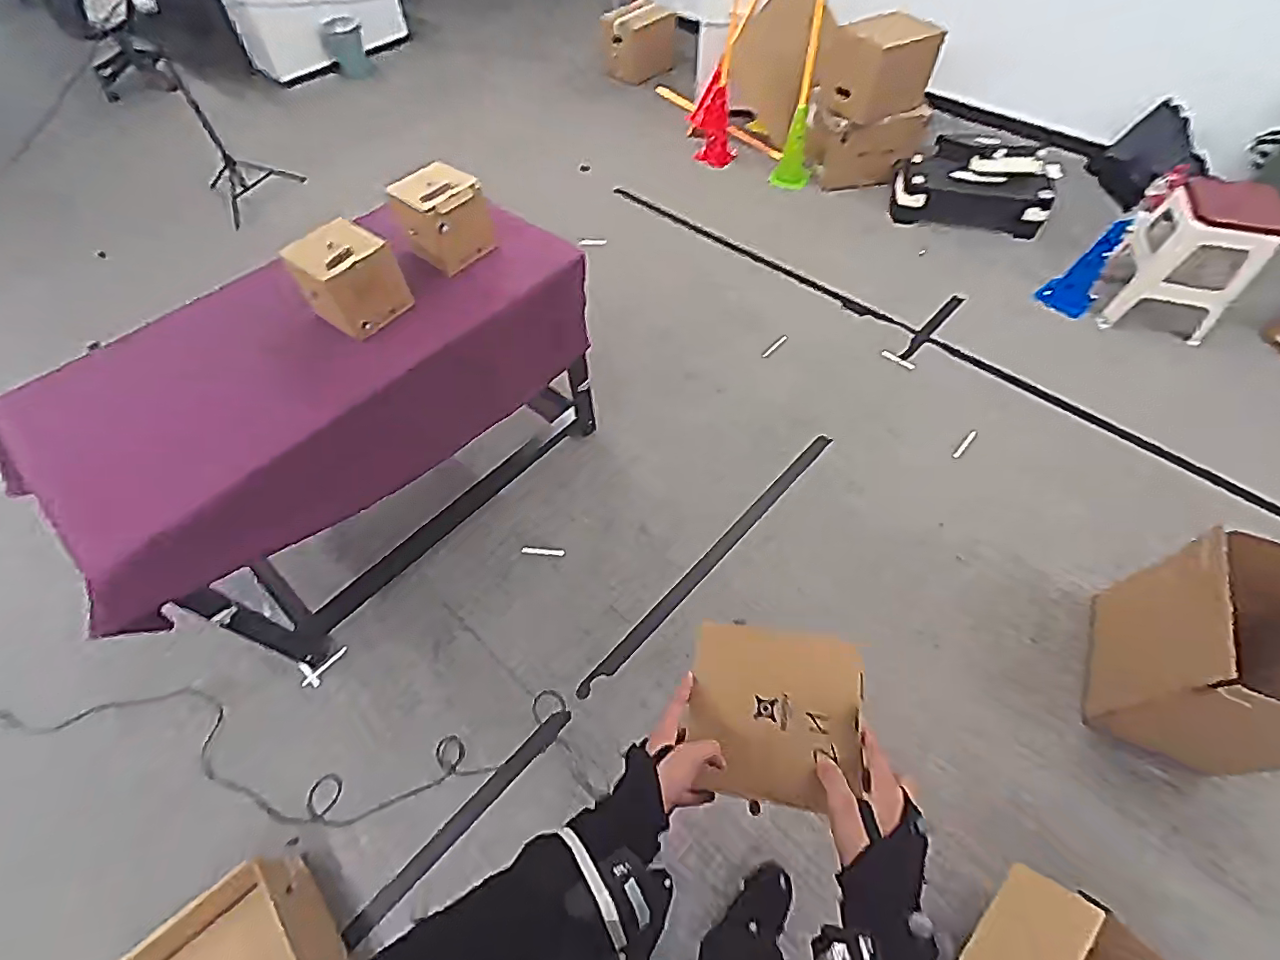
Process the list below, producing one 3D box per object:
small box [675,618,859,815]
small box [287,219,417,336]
[{"bbox_3d":[0.144,0.268,0.622,0.179,0.176,0.168,5,65,12],"label":"small box"},{"bbox_3d":[-0.652,-0.461,1.248,0.179,0.176,0.168,32,63,21],"label":"small box"}]
